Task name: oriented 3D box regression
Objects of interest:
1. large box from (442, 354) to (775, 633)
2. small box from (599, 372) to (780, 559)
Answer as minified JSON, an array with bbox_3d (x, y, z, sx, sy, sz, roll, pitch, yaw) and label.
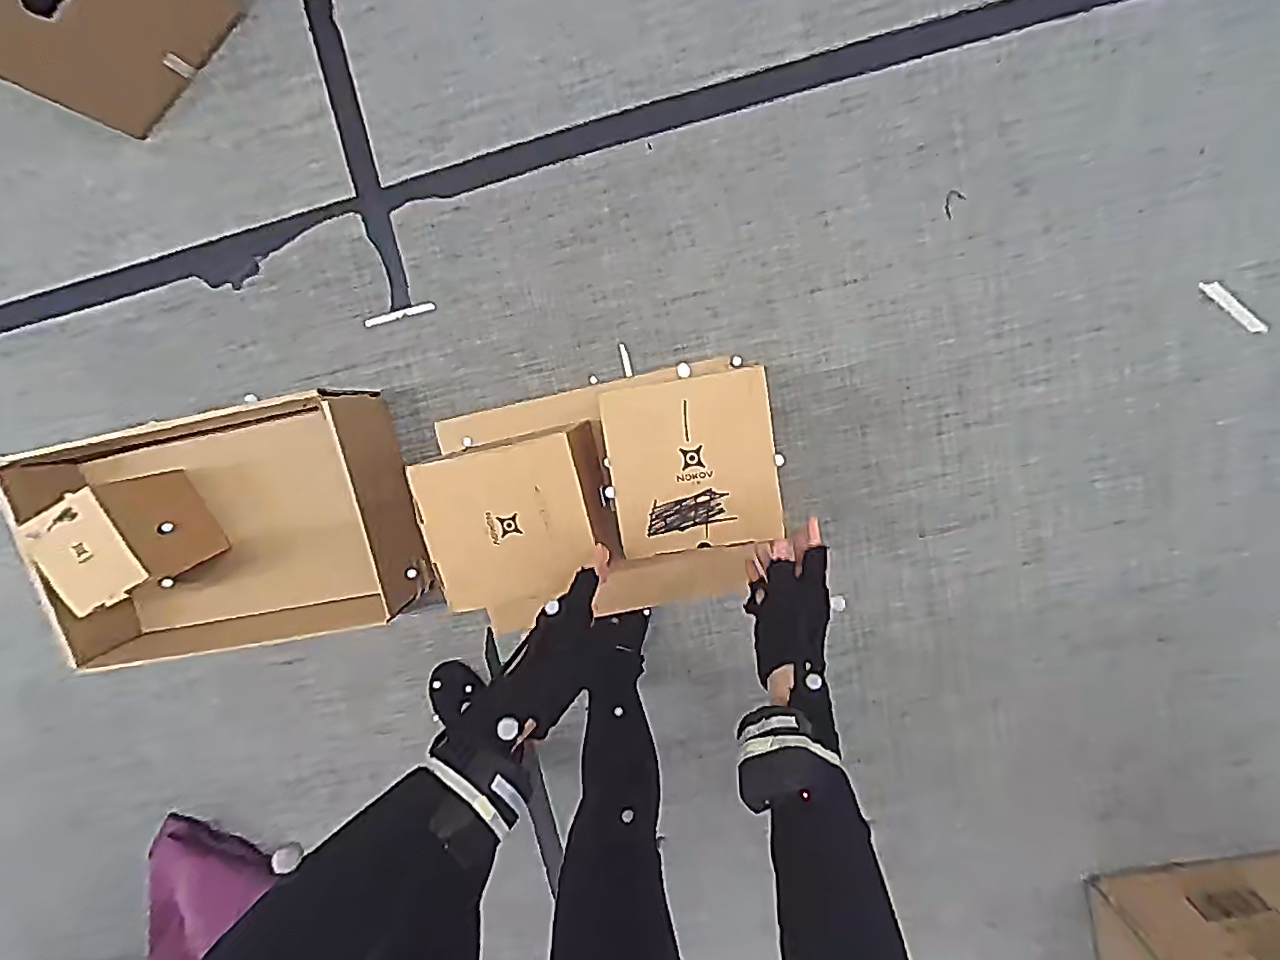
[{"bbox_3d":[-0.036,0.005,0.880,0.408,0.320,0.320,-13,100,4],"label":"large box"},{"bbox_3d":[0.057,-0.024,0.621,0.168,0.176,0.179,-8,98,5],"label":"small box"}]
